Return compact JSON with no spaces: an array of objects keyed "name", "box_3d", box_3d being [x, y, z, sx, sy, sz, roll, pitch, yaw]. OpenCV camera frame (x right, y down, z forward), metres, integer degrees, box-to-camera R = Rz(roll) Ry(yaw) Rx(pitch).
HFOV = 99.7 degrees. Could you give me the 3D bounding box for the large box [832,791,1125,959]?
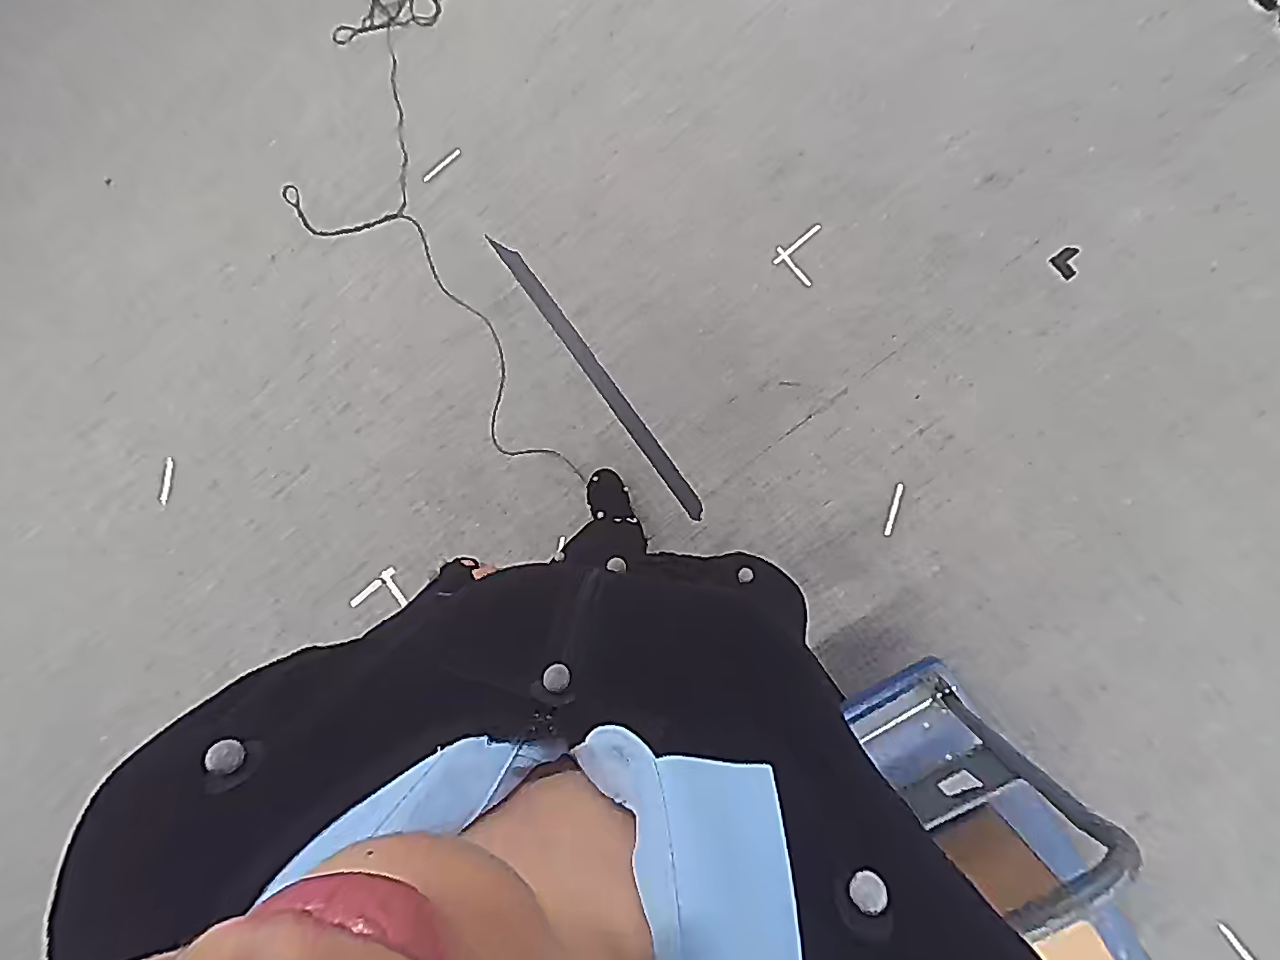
[{"name":"large box","box_3d":[0.657,0.909,1.054,0.408,0.320,0.320,-33,84,5]}]
